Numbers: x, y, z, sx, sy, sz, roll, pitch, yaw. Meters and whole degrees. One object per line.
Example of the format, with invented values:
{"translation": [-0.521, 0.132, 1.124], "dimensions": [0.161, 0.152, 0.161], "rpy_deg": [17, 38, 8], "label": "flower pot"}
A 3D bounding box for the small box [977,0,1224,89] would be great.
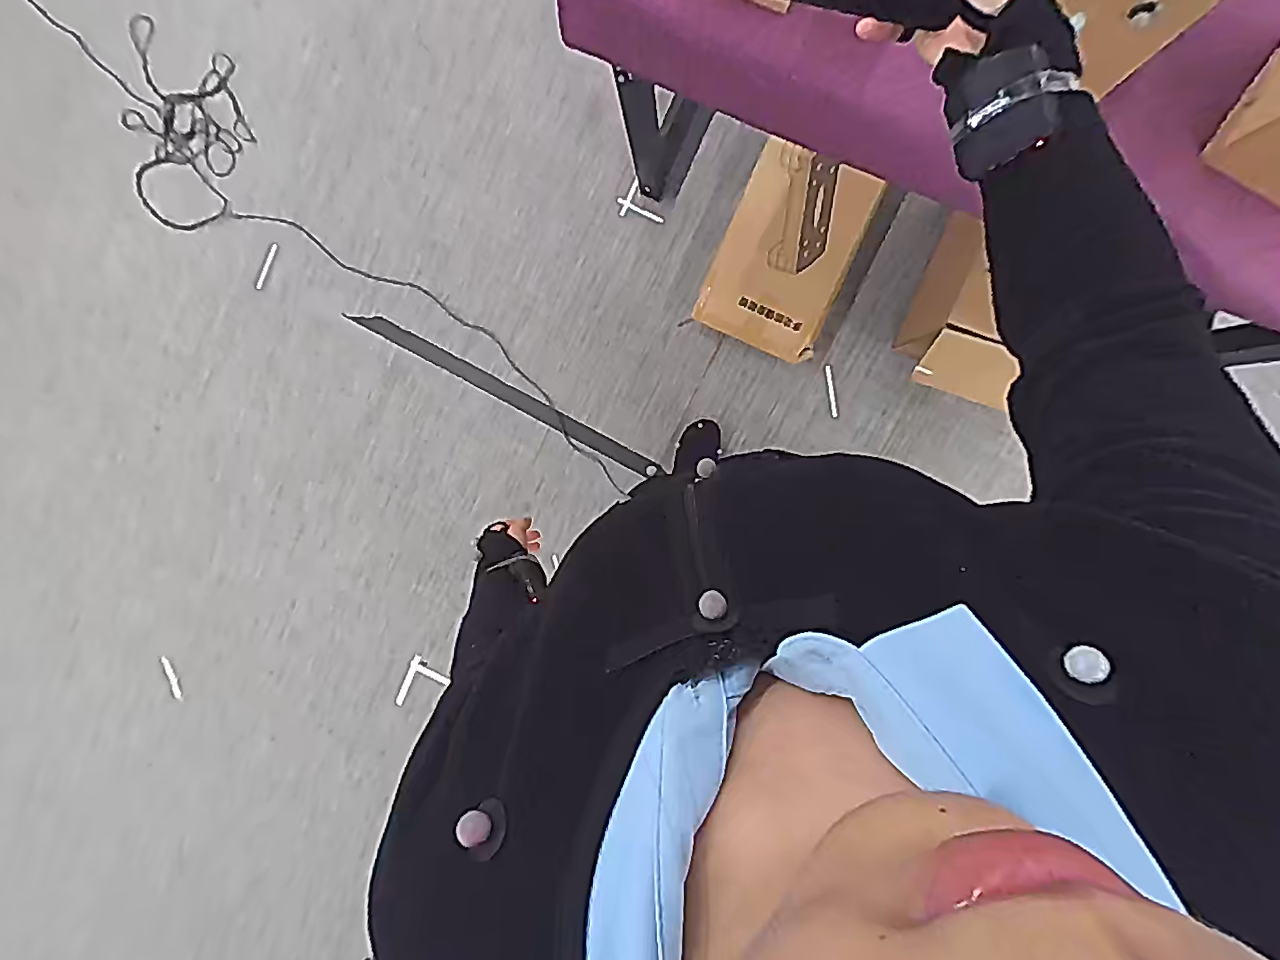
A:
{"translation": [0.514, -0.567, 0.576], "dimensions": [0.179, 0.176, 0.168], "rpy_deg": [25, 95, 3], "label": "small box"}

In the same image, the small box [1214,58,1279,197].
{"translation": [0.791, -0.411, 0.565], "dimensions": [0.179, 0.176, 0.168], "rpy_deg": [32, 98, 2], "label": "small box"}
